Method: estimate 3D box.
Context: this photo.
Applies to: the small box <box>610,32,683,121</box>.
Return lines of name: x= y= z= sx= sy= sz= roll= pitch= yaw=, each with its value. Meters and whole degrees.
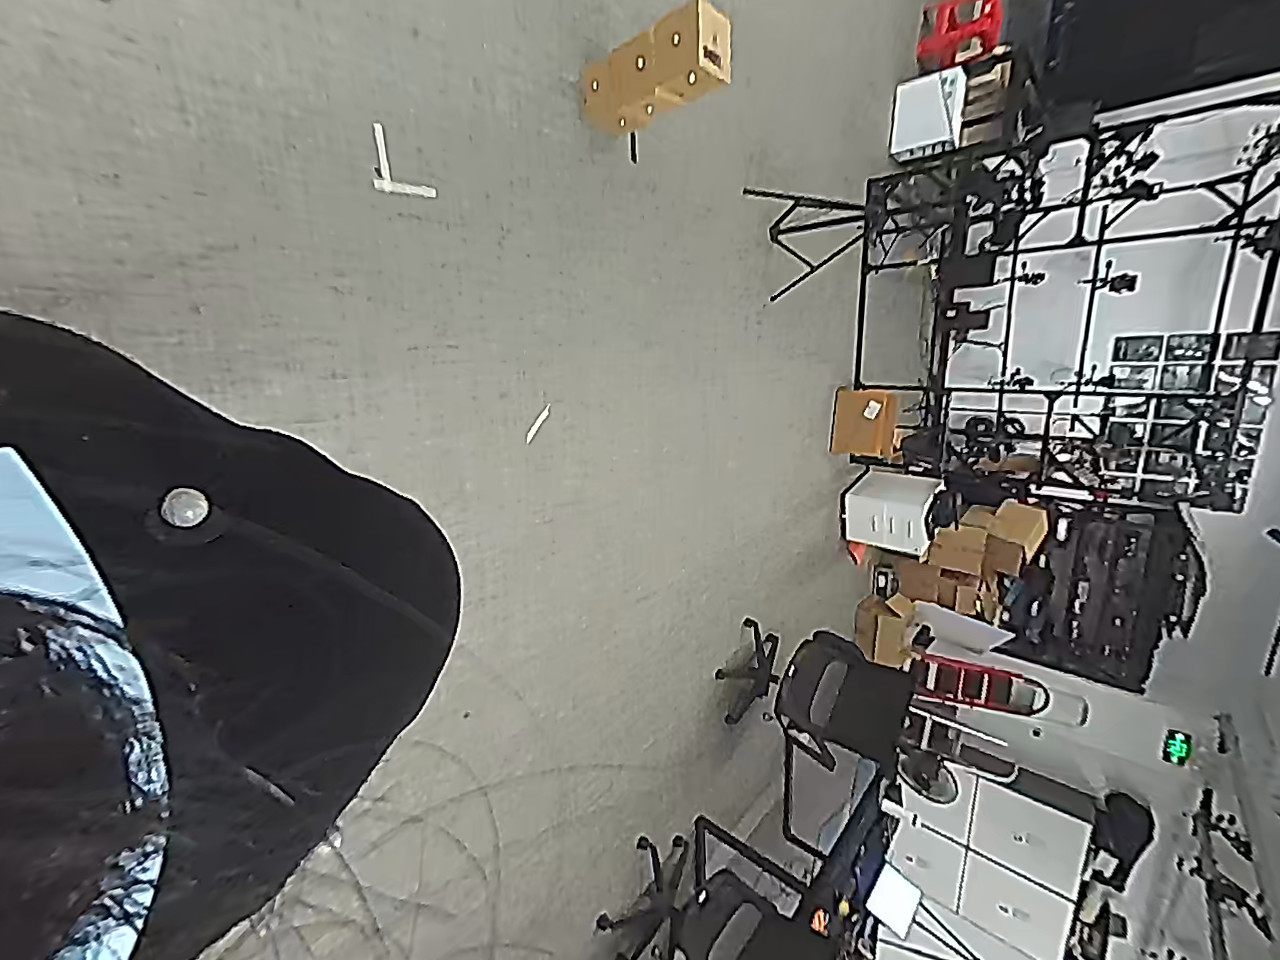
small box: x=0.021 y=-1.294 z=1.751 sx=0.168 sy=0.176 sz=0.179 roll=-24 pitch=115 yaw=-44

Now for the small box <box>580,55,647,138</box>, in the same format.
small box: x=-0.095 y=-1.312 z=1.864 sx=0.179 sy=0.176 sz=0.168 roll=-12 pitch=108 yaw=-48
